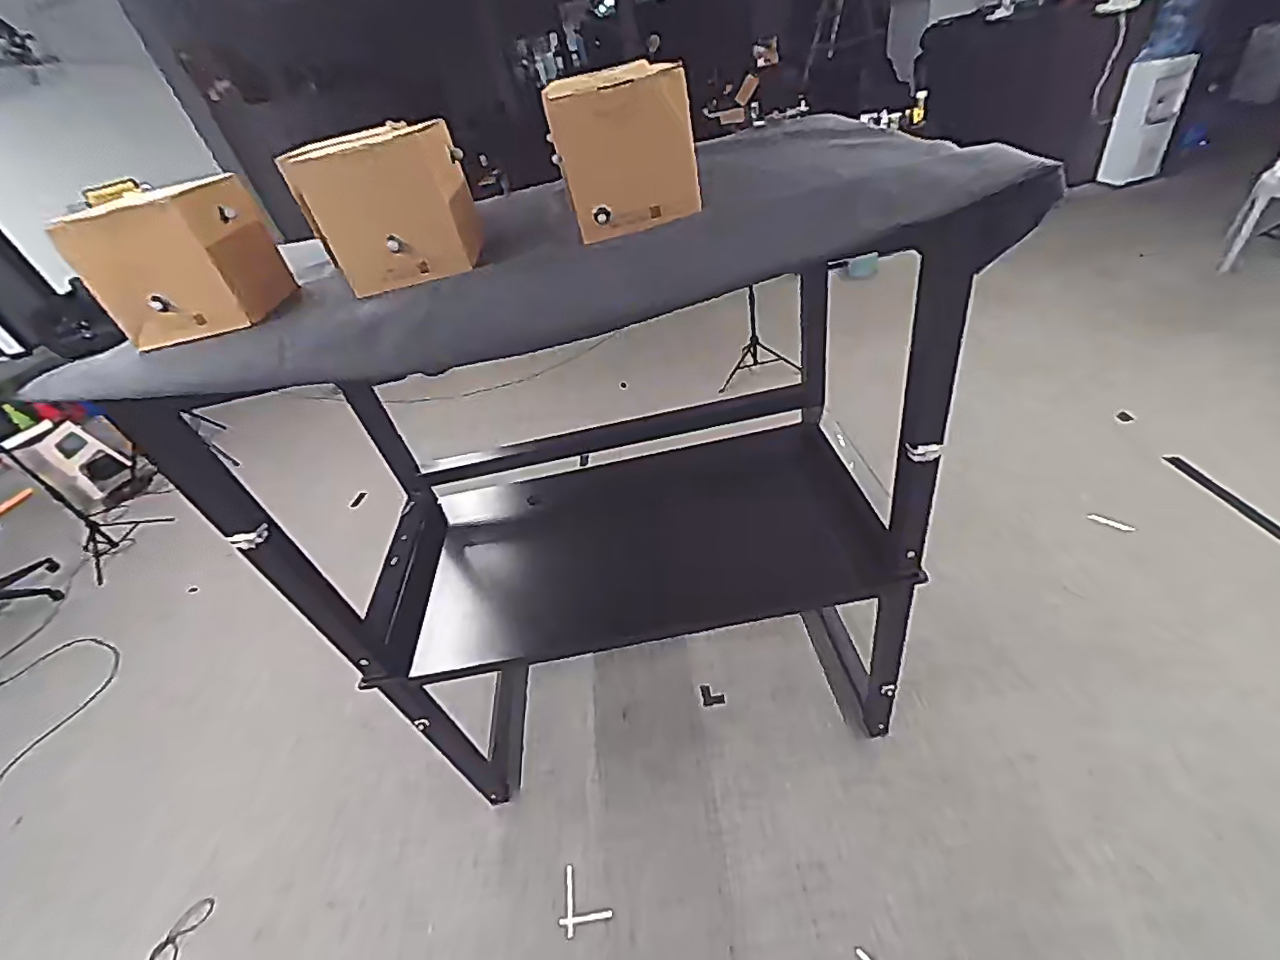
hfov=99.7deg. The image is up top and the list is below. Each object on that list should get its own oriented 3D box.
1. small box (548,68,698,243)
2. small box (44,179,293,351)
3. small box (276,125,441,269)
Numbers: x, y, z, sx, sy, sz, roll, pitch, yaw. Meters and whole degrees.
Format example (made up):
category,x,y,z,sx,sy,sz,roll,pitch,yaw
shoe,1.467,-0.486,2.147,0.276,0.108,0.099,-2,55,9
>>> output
category,x,y,z,sx,sy,sz,roll,pitch,yaw
small box,-0.023,-0.443,0.747,0.168,0.176,0.179,-13,38,1
small box,-0.629,-0.301,0.758,0.168,0.176,0.179,-13,38,0
small box,-0.464,-0.485,0.928,0.179,0.176,0.168,-14,39,0
